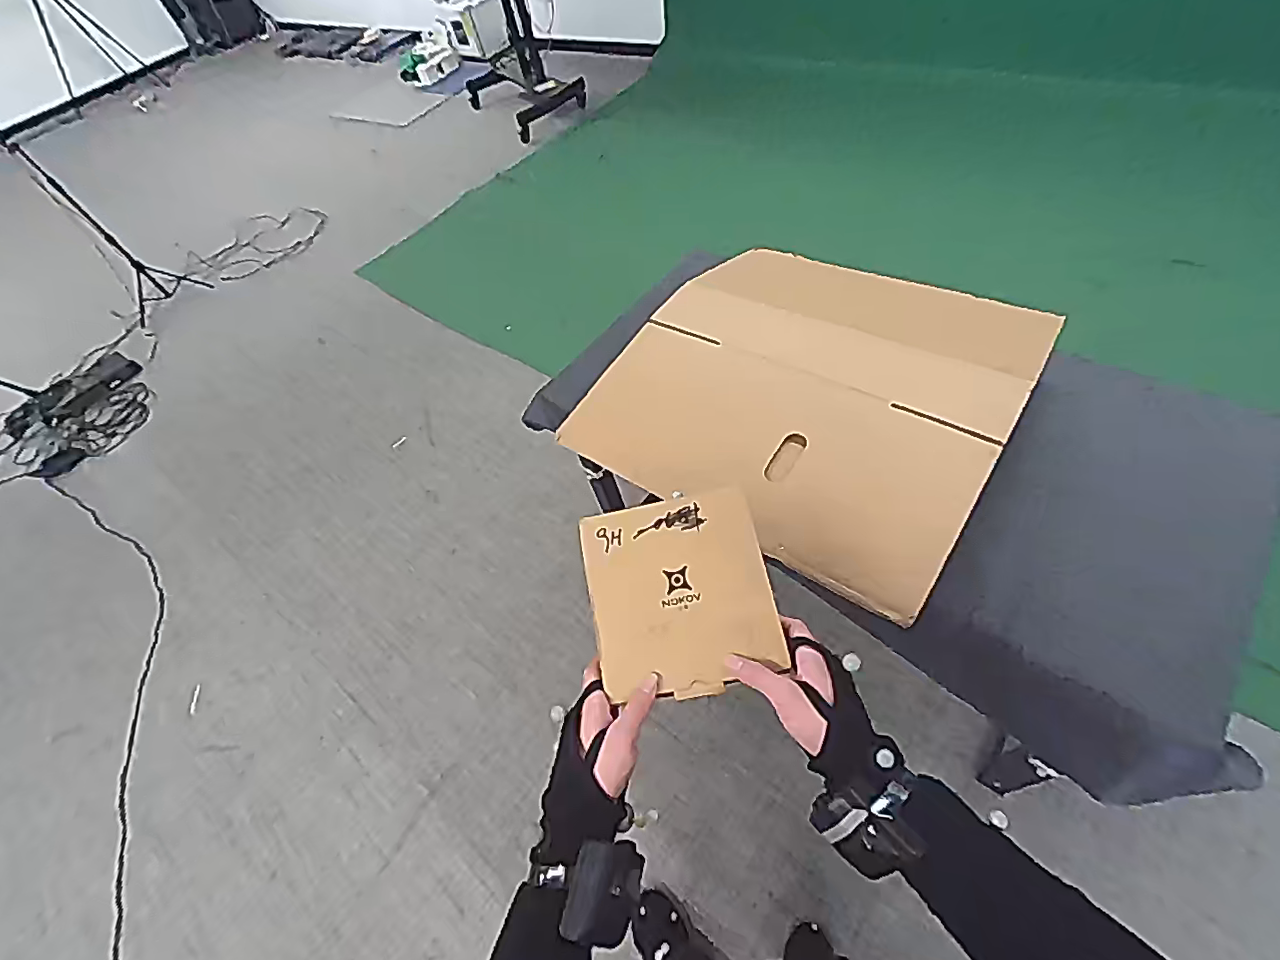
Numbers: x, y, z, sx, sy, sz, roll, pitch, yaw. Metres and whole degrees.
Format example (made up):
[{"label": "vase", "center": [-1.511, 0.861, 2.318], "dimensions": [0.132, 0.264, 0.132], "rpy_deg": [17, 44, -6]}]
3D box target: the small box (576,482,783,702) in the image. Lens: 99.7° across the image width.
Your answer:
[{"label": "small box", "center": [0.043, 0.125, 0.579], "dimensions": [0.168, 0.176, 0.179], "rpy_deg": [-15, 68, 2]}]
